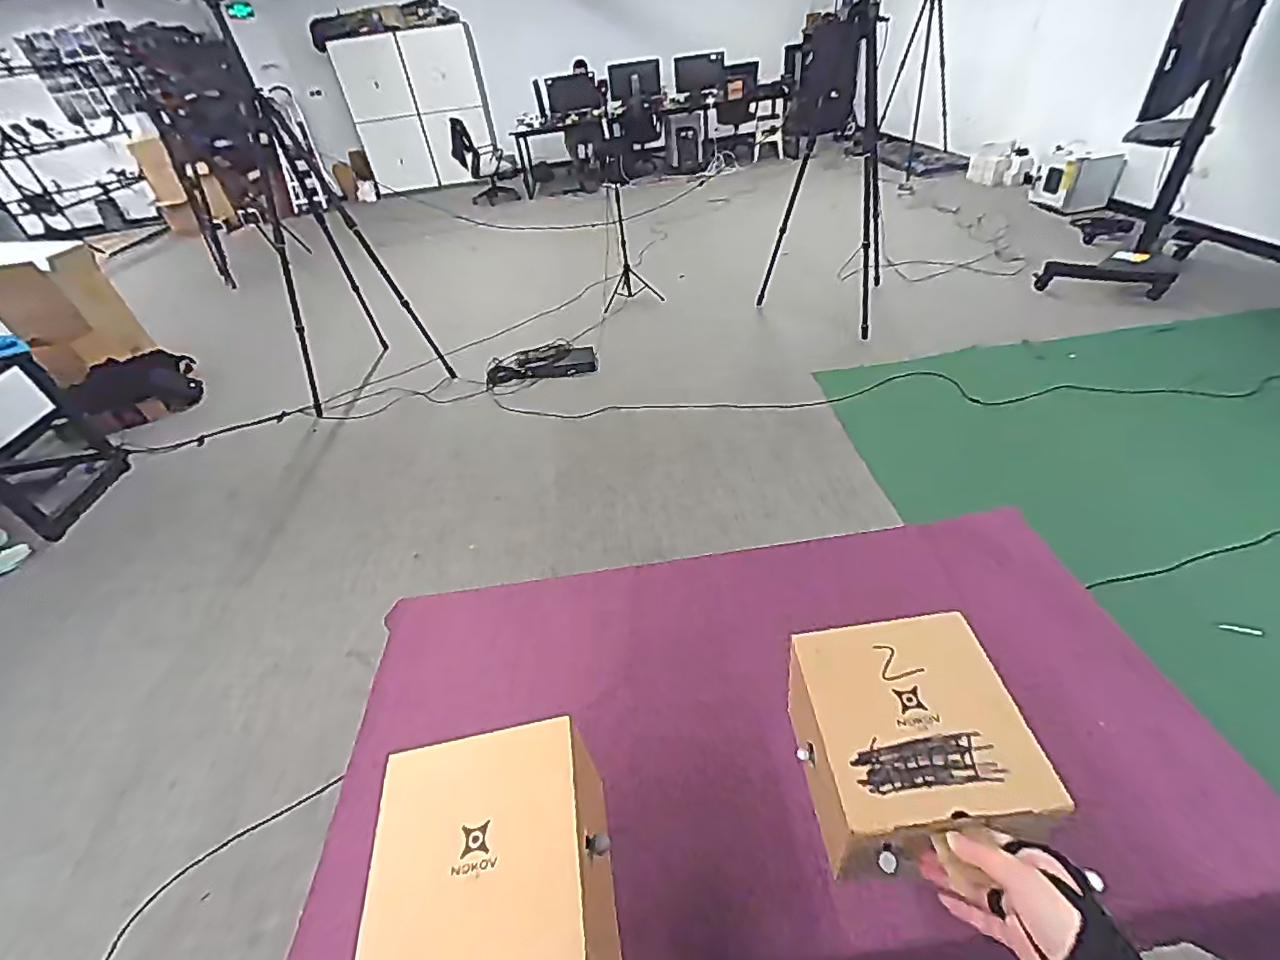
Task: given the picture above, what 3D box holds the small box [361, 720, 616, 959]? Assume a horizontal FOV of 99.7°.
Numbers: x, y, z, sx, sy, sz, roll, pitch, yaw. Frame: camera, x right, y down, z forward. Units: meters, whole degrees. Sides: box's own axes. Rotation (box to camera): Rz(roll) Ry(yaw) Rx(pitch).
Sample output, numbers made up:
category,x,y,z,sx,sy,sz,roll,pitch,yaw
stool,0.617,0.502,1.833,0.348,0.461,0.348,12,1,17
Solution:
category,x,y,z,sx,sy,sz,roll,pitch,yaw
small box,-0.121,0.352,0.491,0.168,0.176,0.179,-12,44,-2
